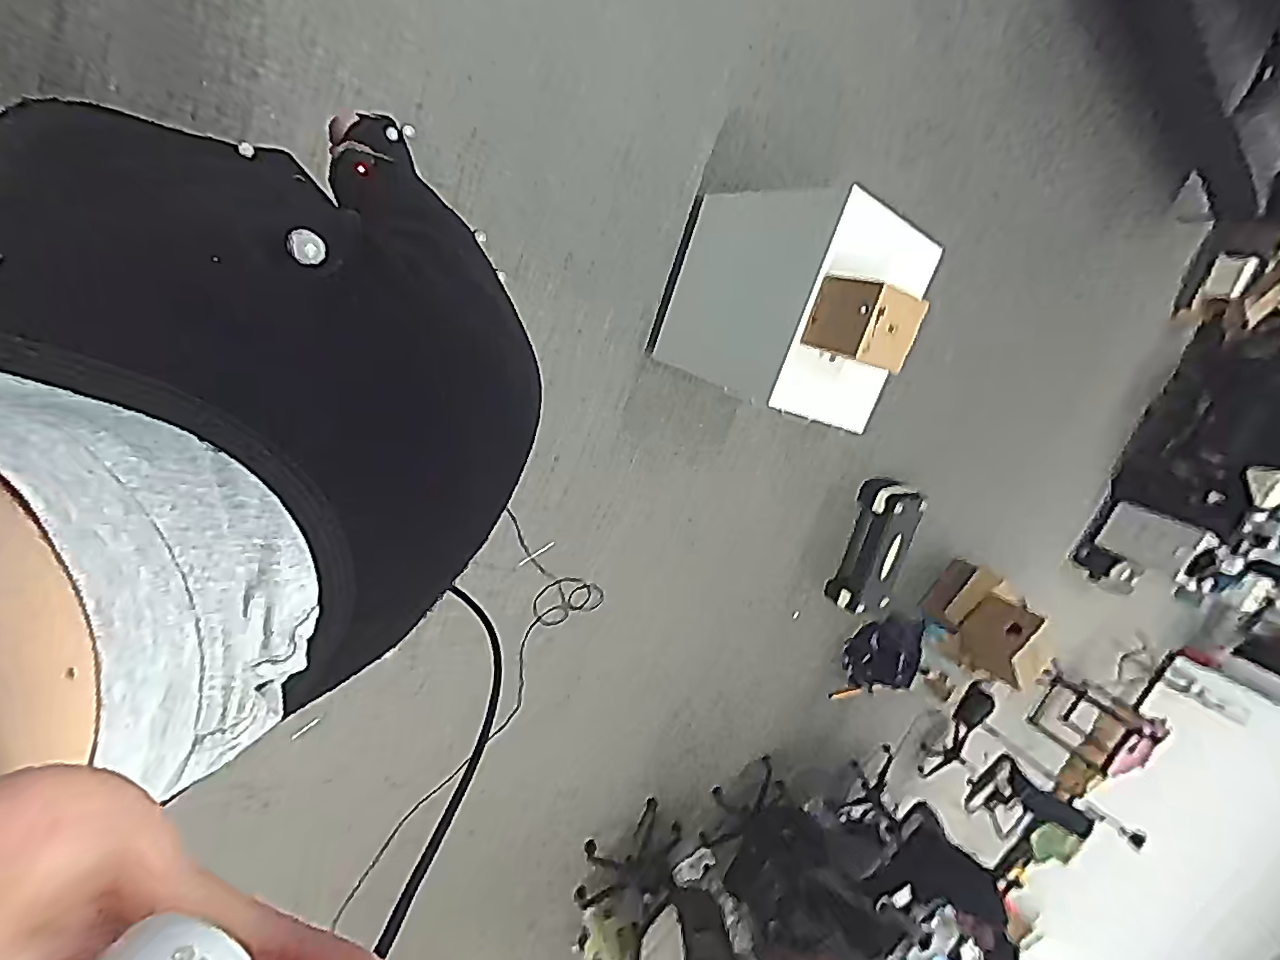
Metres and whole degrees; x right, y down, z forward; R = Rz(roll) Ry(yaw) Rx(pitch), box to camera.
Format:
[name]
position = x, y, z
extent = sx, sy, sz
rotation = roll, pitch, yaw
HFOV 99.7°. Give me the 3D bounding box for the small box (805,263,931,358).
[small box]
position = 0.516, -0.391, 1.237
extent = 0.179, 0.176, 0.168
rotation = 3, 110, -35
